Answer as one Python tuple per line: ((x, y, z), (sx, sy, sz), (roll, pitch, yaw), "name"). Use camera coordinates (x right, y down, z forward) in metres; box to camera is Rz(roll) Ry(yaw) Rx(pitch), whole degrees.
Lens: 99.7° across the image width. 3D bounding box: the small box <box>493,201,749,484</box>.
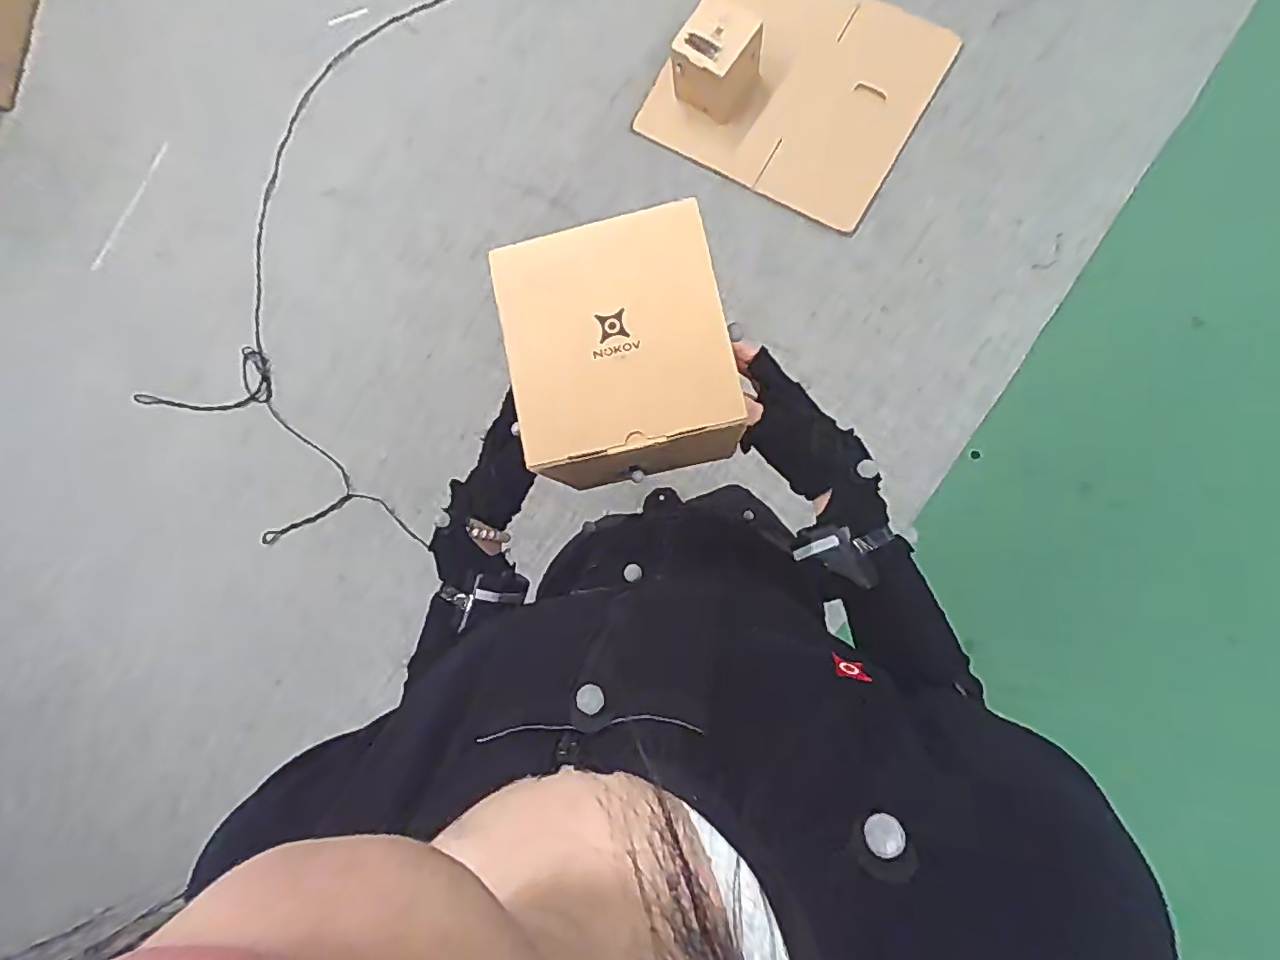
((-0.011, -0.102, 0.479), (0.168, 0.176, 0.179), (-13, 84, 4), "small box")
